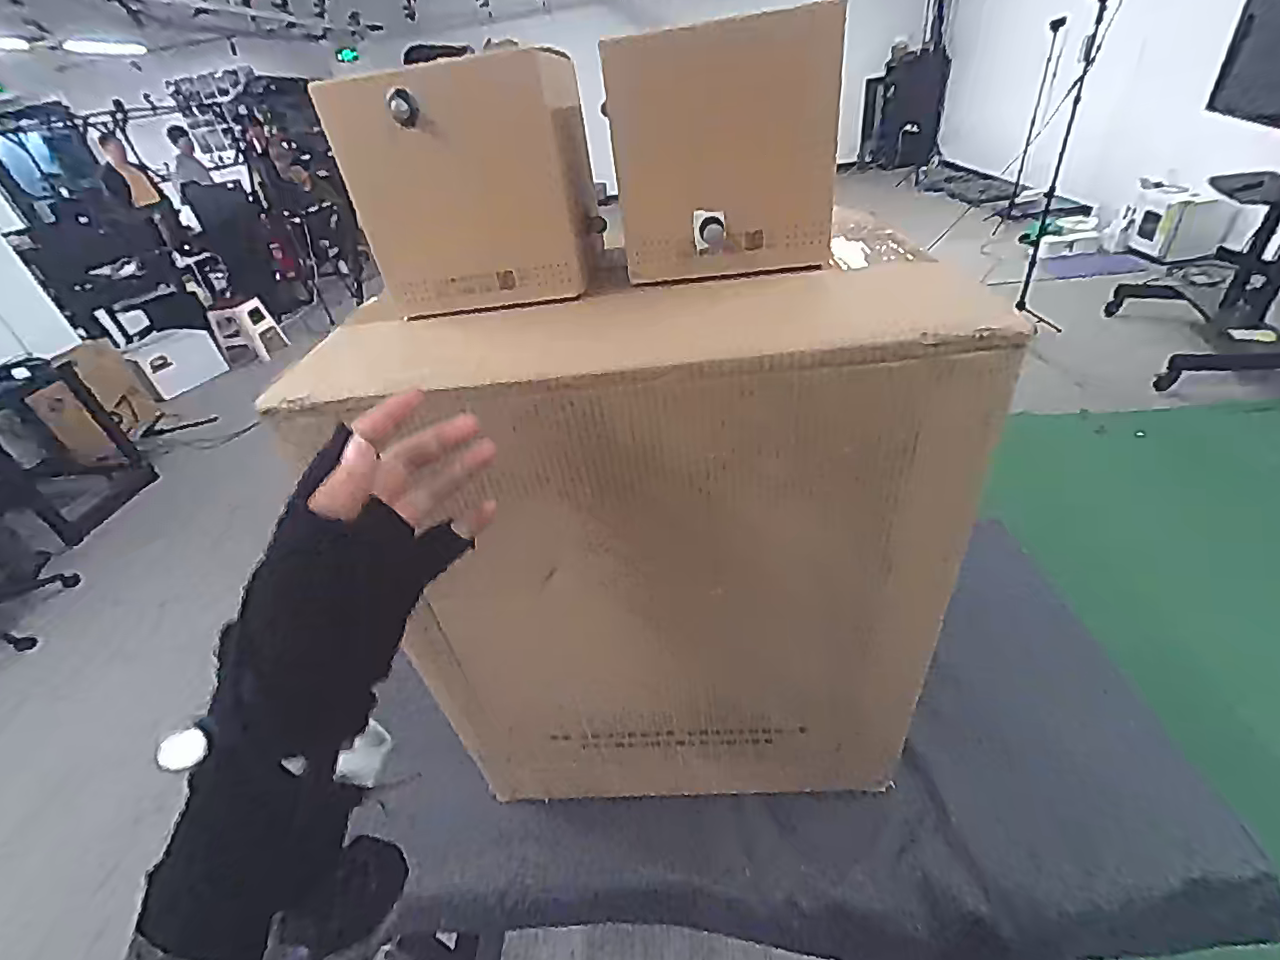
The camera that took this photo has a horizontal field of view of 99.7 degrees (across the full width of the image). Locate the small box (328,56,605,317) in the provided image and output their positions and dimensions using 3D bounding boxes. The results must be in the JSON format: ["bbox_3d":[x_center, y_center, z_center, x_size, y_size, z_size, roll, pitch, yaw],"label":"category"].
[{"bbox_3d":[-0.131,-0.260,0.491,0.168,0.176,0.179,-5,34,7],"label":"small box"}]
